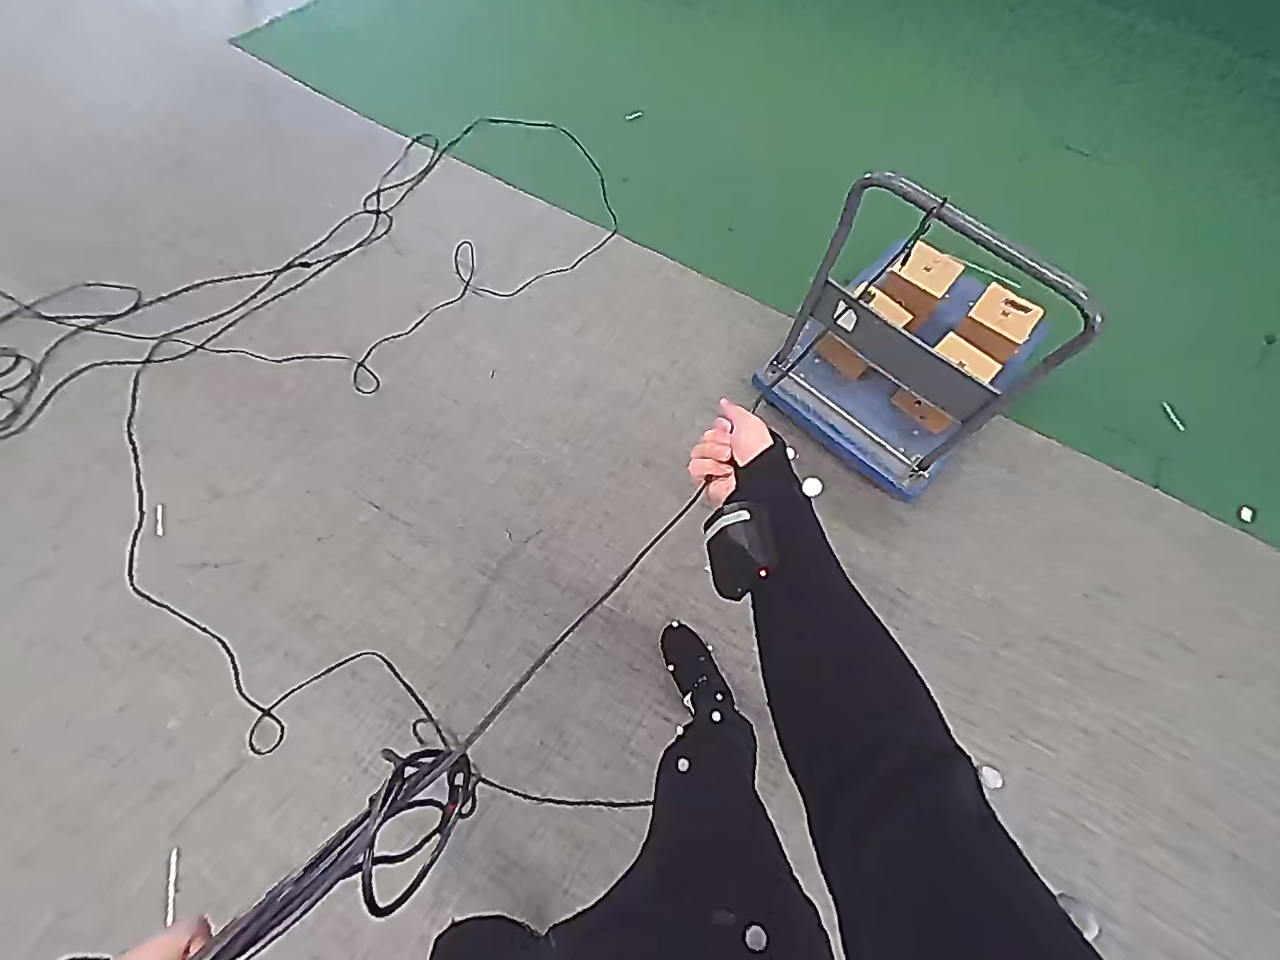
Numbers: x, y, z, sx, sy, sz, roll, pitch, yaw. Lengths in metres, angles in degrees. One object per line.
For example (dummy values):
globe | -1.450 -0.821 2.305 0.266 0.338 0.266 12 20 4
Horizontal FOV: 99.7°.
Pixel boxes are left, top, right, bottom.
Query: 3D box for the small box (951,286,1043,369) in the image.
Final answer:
small box | 1.043 -0.433 1.618 0.168 0.176 0.179 38 68 15

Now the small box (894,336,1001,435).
small box | 0.856 -0.262 1.524 0.168 0.176 0.179 43 69 16

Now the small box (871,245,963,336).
small box | 0.850 -0.583 1.680 0.168 0.176 0.179 38 68 14
